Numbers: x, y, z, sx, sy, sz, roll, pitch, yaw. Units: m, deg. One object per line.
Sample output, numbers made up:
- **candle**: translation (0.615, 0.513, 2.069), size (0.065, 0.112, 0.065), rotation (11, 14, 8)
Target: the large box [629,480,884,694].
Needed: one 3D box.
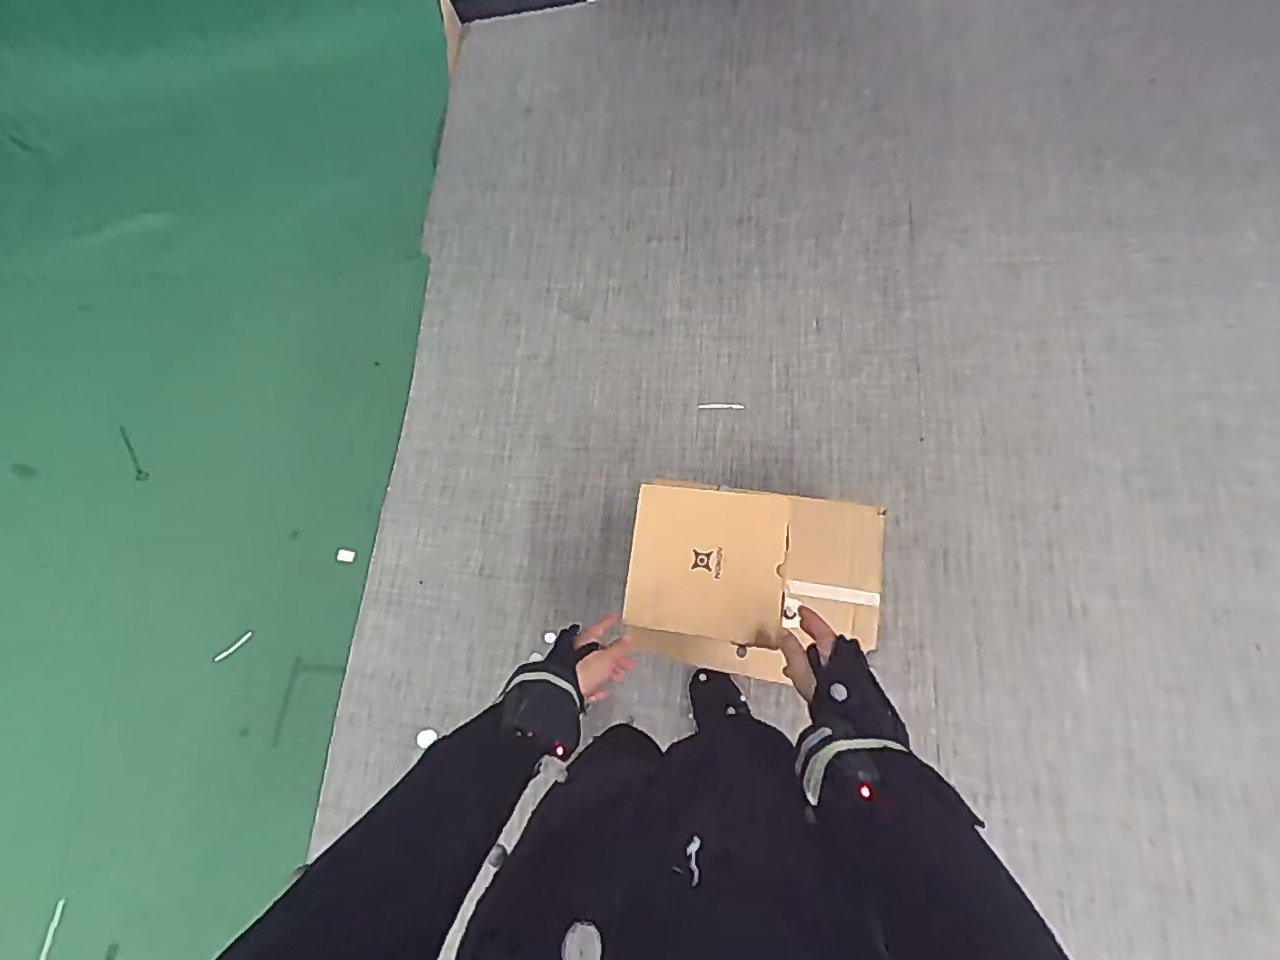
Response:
- **large box**: translation (0.218, 0.206, 1.058), size (0.408, 0.320, 0.320), rotation (7, 77, 12)

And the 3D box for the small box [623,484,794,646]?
- **small box**: translation (0.090, 0.111, 0.678), size (0.179, 0.176, 0.168), rotation (6, 76, 11)
